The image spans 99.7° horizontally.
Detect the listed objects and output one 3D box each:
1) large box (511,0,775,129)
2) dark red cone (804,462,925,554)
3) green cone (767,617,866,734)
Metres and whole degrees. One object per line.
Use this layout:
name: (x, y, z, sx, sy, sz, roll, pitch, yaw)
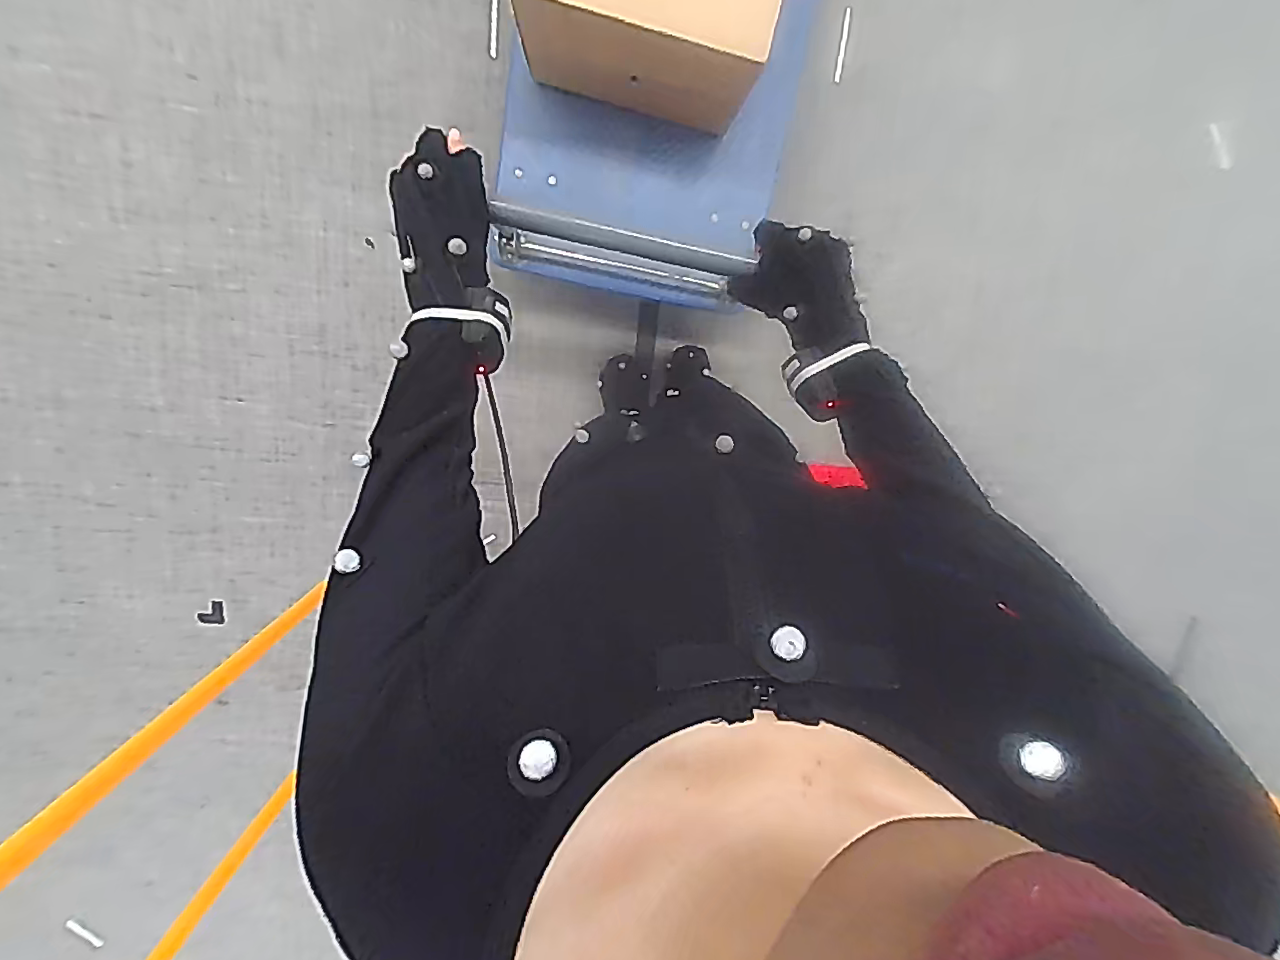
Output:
large box: (0.021, -0.870, 0.933, 0.408, 0.320, 0.320, 12, 103, -6)
dark red cone: (0.577, 0.095, 1.347, 0.201, 0.394, 0.202, 4, 104, -6)
green cone: (0.509, 0.557, 1.479, 0.202, 0.368, 0.200, 8, 104, -7)
